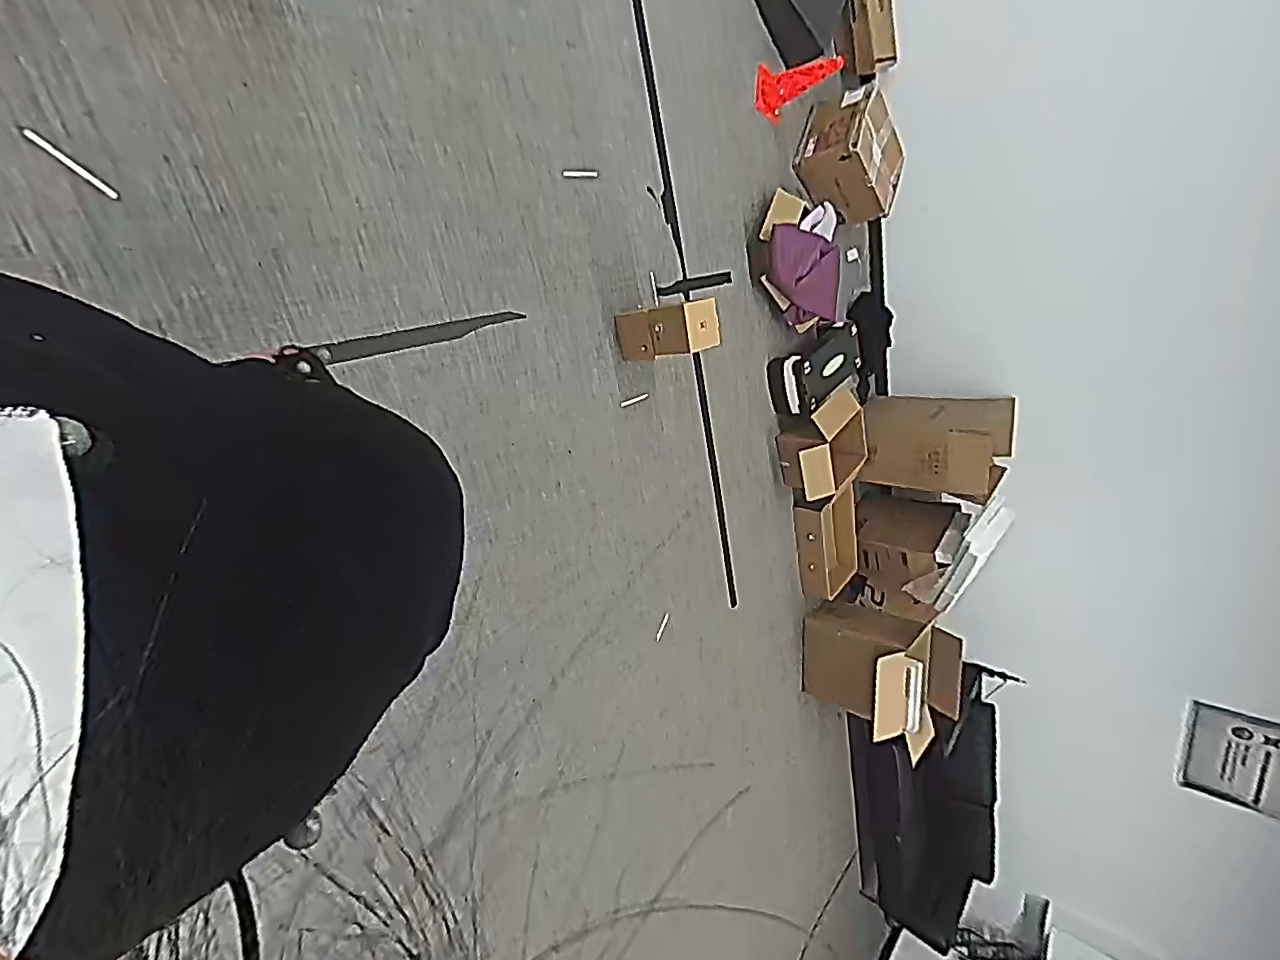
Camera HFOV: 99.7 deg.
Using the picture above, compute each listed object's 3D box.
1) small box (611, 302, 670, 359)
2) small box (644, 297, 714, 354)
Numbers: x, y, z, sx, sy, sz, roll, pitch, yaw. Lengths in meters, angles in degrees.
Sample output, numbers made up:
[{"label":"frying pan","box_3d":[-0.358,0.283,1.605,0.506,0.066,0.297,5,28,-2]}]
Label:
[{"label":"small box","box_3d":[0.015,-0.558,2.031,0.168,0.176,0.179,-30,117,-39]},{"label":"small box","box_3d":[0.139,-0.549,1.925,0.179,0.176,0.168,-27,115,-39]}]
